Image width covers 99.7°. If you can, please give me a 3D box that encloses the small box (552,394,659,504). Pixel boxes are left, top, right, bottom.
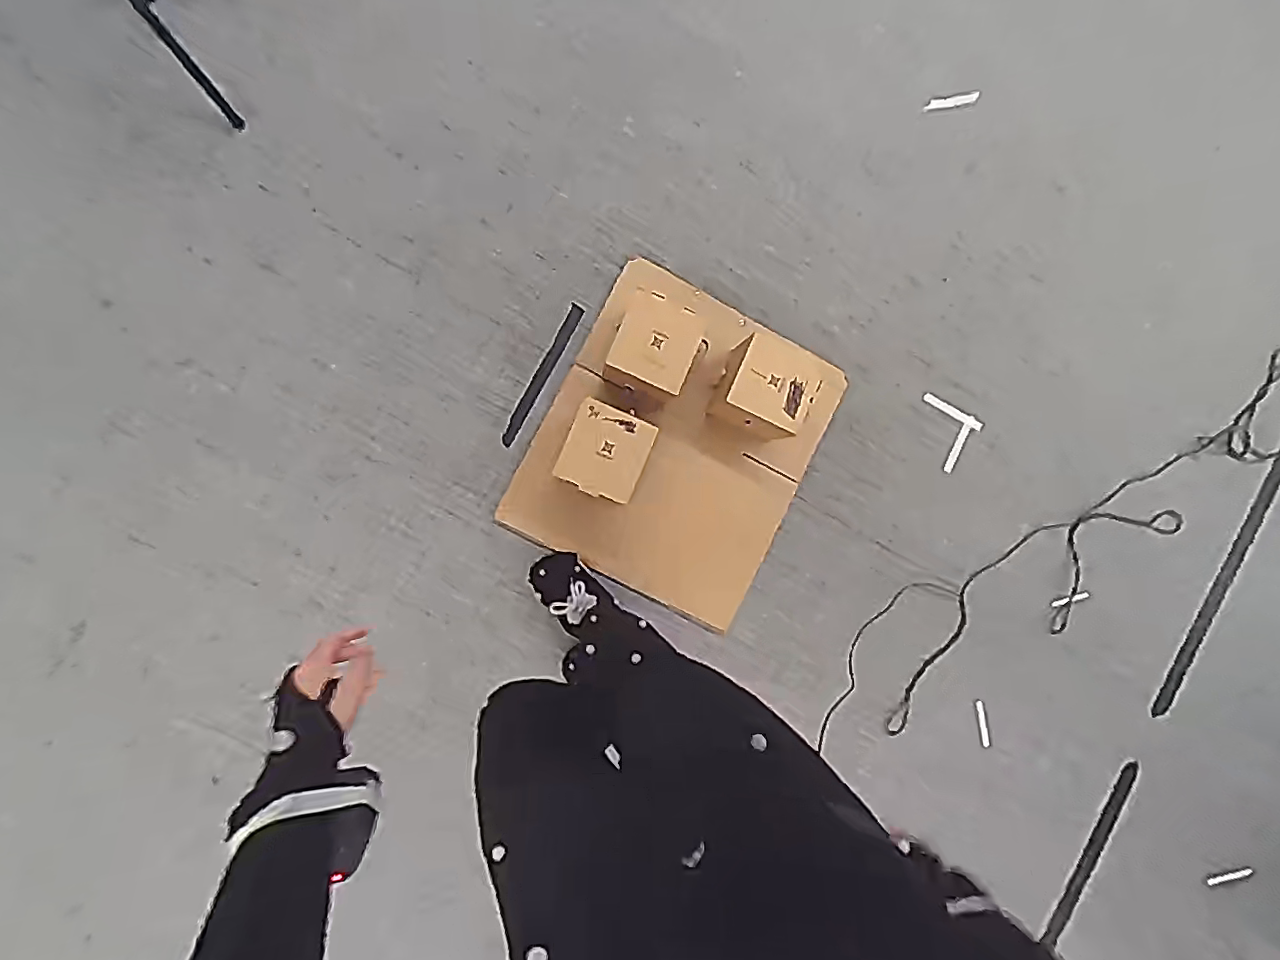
[{"bbox_3d":[-0.076,-0.063,1.156,0.168,0.176,0.179,23,89,-7],"label":"small box"}]

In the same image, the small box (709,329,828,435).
[{"bbox_3d":[0.277,-0.208,1.203,0.179,0.176,0.168,24,87,-6],"label":"small box"}]
